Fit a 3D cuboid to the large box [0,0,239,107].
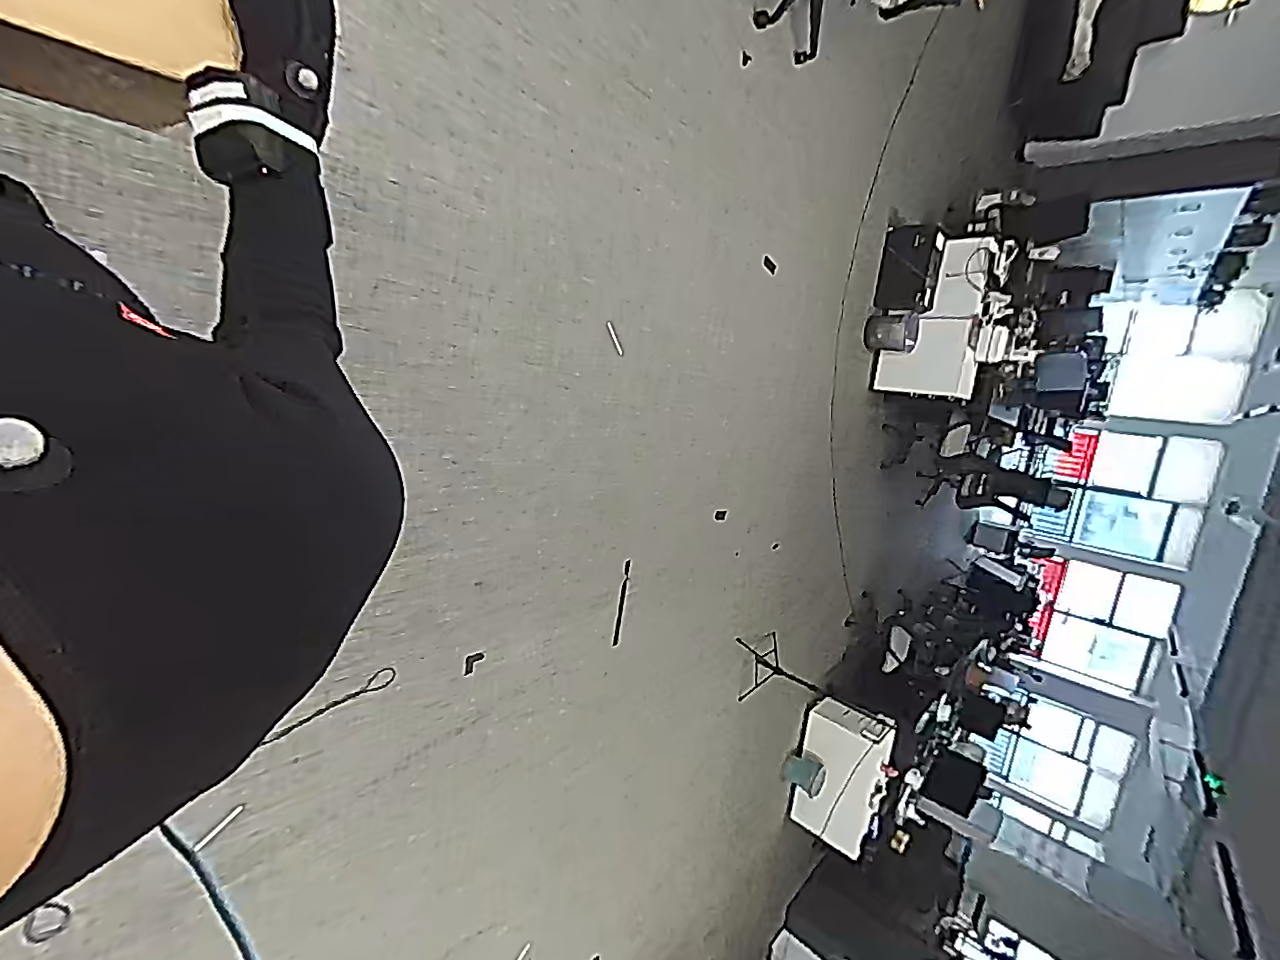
[{"bbox_3d":[-0.529,-0.472,0.311,0.408,0.320,0.320,-12,119,-50],"label":"large box"}]
